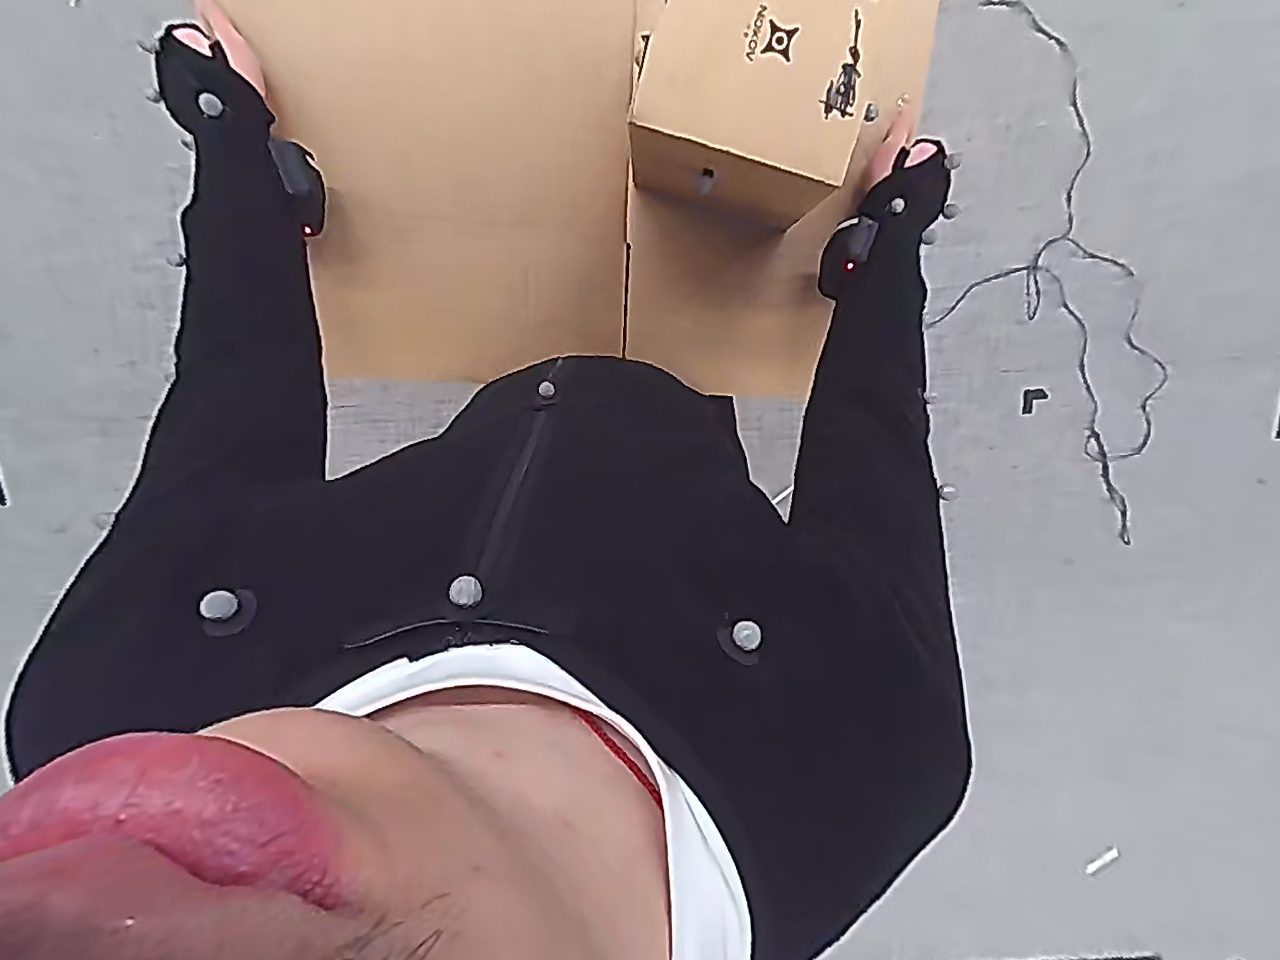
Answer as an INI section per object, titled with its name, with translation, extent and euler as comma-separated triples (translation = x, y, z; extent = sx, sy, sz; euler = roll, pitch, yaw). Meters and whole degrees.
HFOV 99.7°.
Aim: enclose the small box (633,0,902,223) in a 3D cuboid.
[small box]
translation = 0.101, -0.352, 0.487
extent = 0.179, 0.176, 0.168
euler = 15, 104, -2
